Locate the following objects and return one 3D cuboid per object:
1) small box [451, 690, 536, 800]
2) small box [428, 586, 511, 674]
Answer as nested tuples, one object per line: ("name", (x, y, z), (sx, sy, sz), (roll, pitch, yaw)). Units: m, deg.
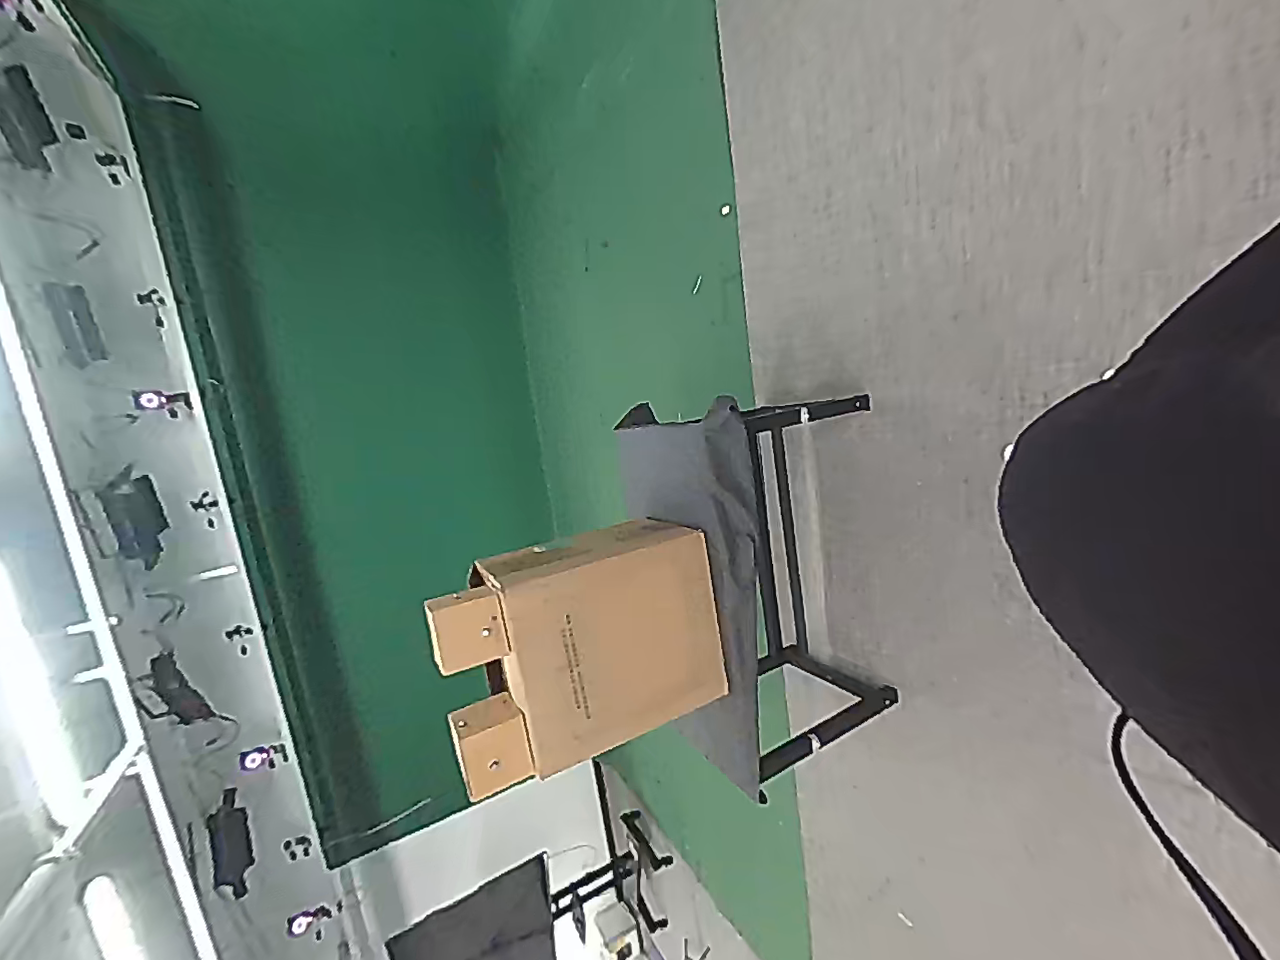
("small box", (-0.393, 0.707, 1.461), (0.168, 0.176, 0.179), (3, 107, 61))
("small box", (-0.452, 0.387, 1.431), (0.179, 0.176, 0.168), (-8, 94, 63))
